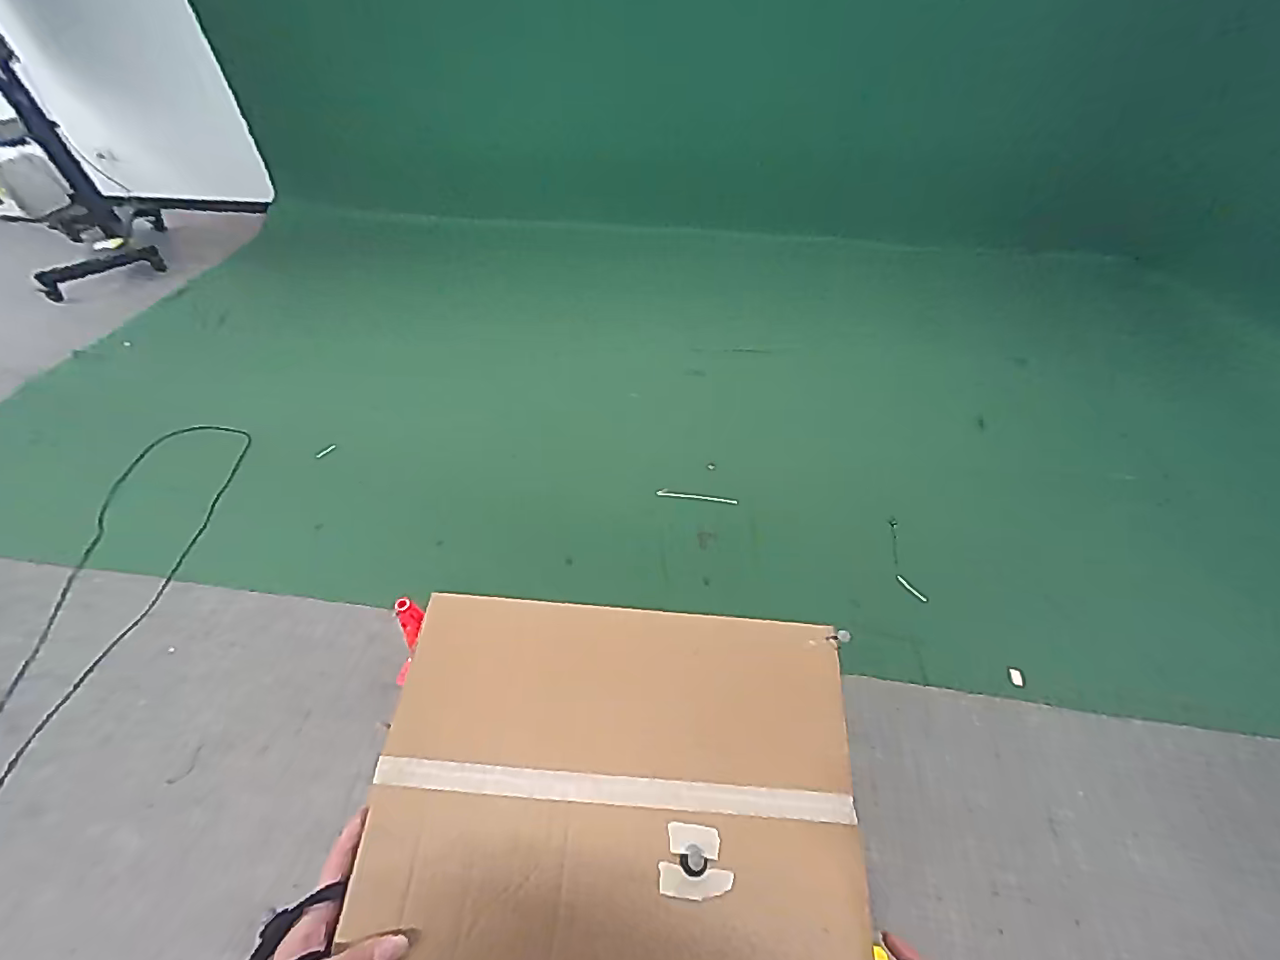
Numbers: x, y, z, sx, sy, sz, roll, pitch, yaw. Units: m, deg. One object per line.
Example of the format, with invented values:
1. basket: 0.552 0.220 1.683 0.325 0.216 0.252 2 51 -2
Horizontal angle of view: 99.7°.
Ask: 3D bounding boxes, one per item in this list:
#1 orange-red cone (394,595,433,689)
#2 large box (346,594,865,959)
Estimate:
1. orange-red cone: -0.636 0.446 1.565 0.199 0.360 0.198 11 47 13
2. large box: -0.024 0.337 0.602 0.408 0.320 0.320 5 60 0
